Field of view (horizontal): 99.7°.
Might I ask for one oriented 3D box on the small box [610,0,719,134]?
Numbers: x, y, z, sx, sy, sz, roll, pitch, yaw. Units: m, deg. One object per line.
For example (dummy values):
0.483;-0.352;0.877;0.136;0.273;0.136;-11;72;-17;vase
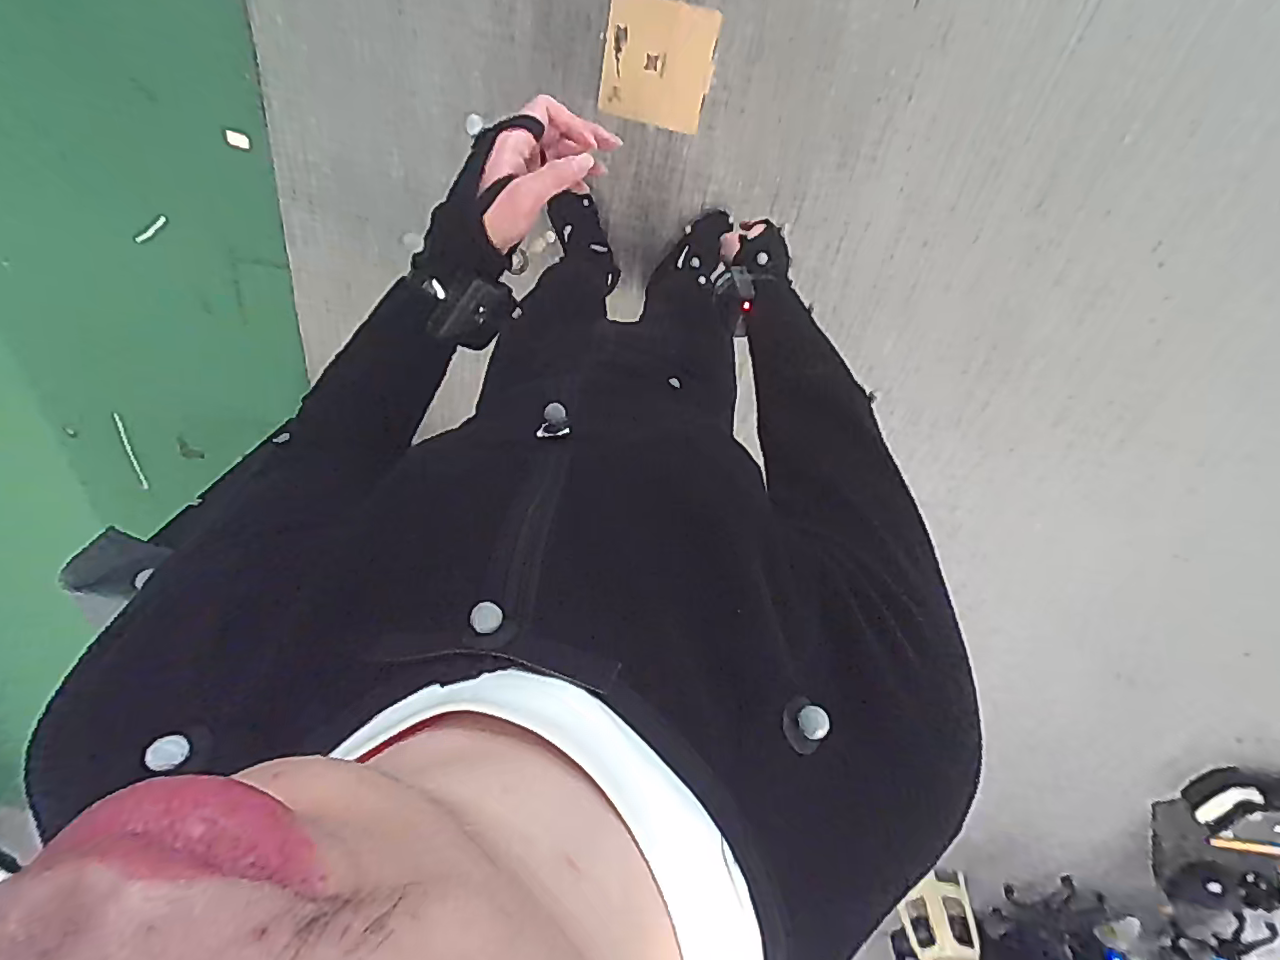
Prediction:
0.047;-0.805;1.057;0.168;0.176;0.179;14;126;-4;small box
